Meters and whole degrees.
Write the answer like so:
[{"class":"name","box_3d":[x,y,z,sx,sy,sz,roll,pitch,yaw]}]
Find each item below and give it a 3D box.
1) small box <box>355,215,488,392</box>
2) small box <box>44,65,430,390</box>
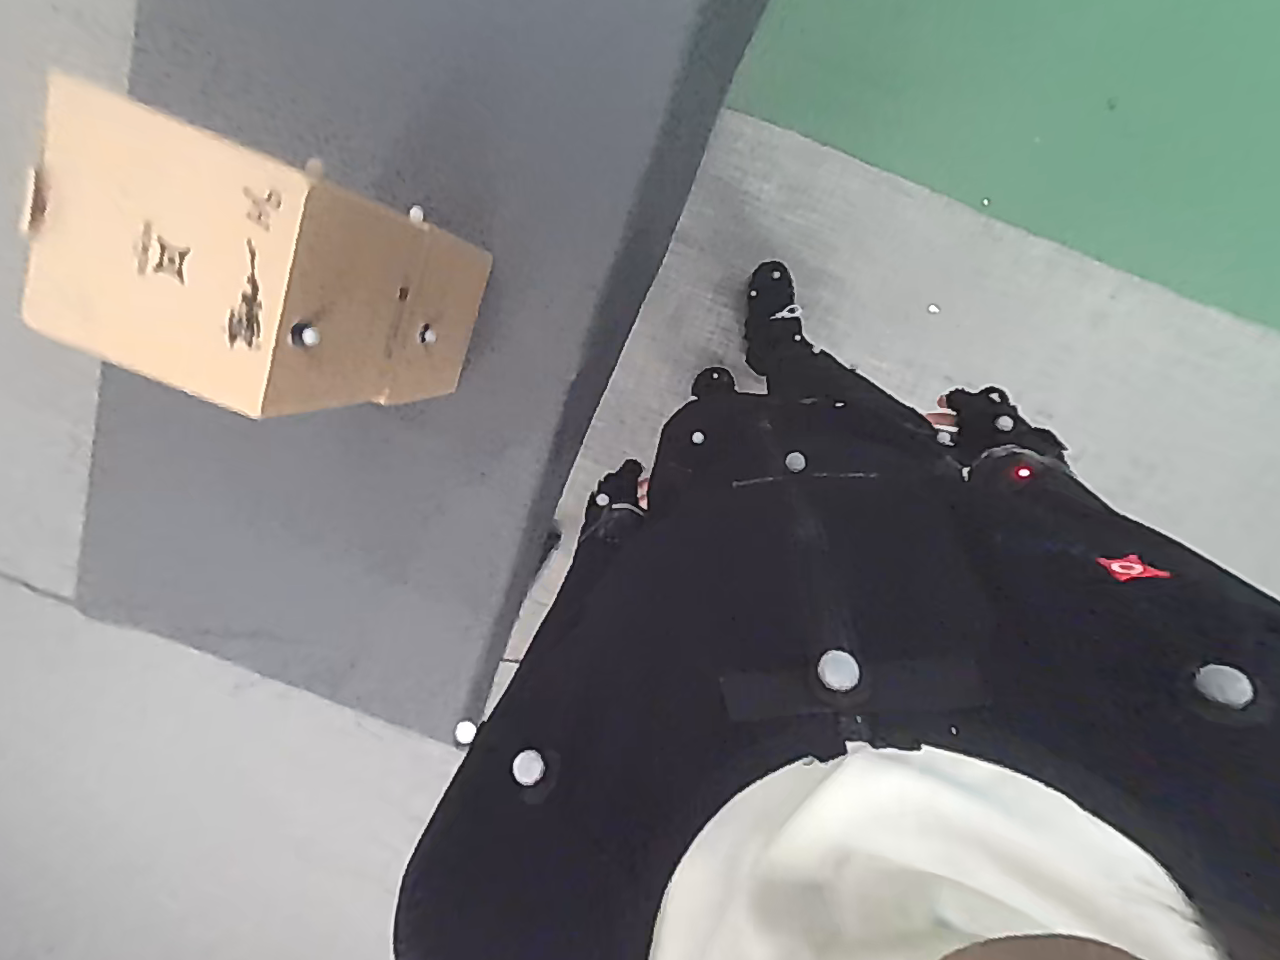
[{"class":"small box","box_3d":[-0.288,-0.213,0.597,0.168,0.176,0.179,21,105,0]},{"class":"small box","box_3d":[-0.305,-0.181,0.440,0.179,0.176,0.168,19,104,0]}]
